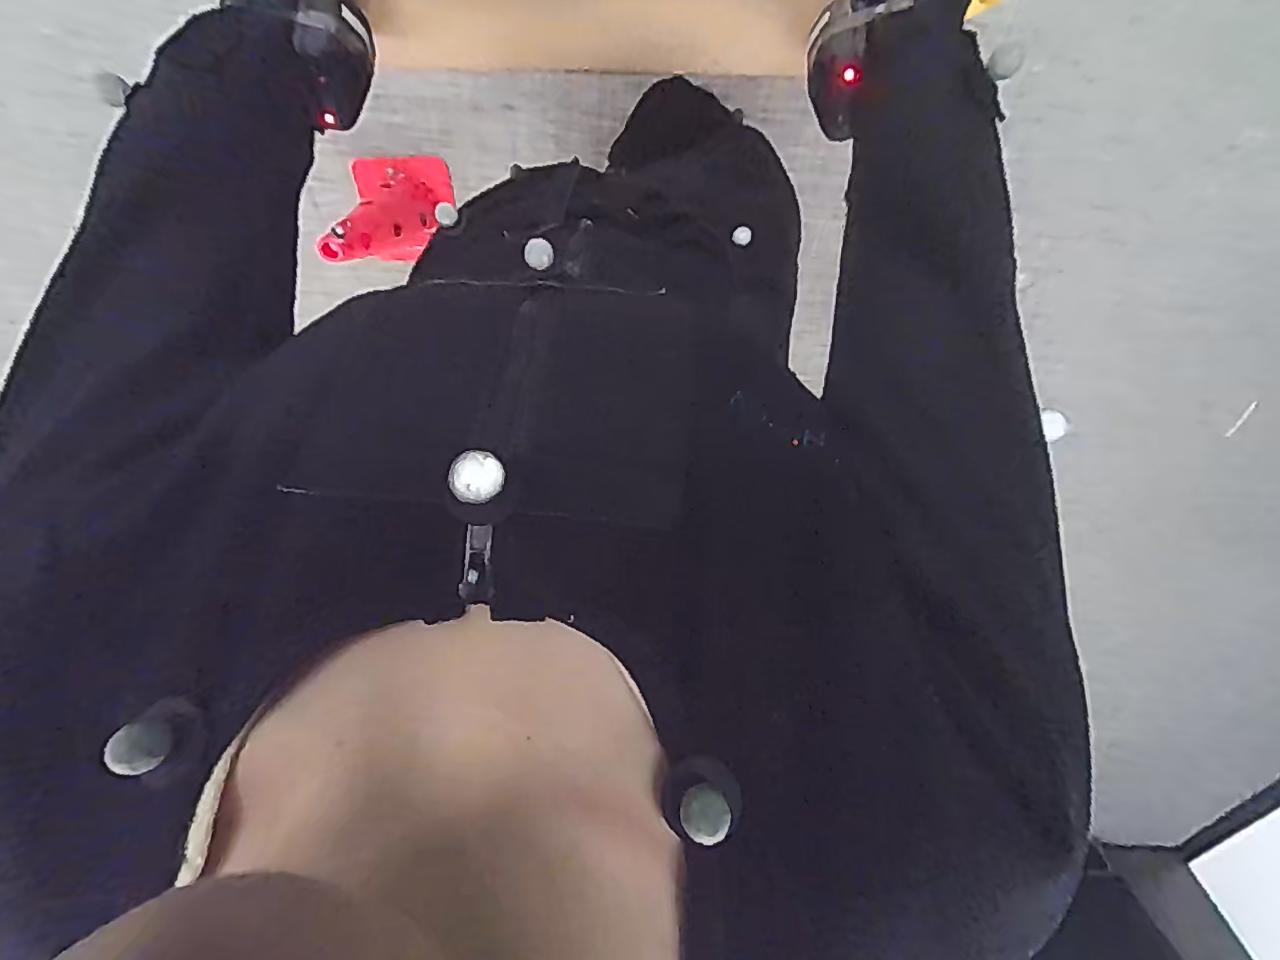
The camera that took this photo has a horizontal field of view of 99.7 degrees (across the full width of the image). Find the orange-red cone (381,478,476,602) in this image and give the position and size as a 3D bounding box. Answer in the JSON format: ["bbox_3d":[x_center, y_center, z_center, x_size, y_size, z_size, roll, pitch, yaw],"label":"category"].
[{"bbox_3d":[-0.613,0.191,1.474,0.199,0.360,0.198,22,123,-11],"label":"orange-red cone"}]

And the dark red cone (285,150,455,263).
[{"bbox_3d":[-0.499,-0.467,0.970,0.202,0.394,0.201,-1,123,4],"label":"dark red cone"}]
